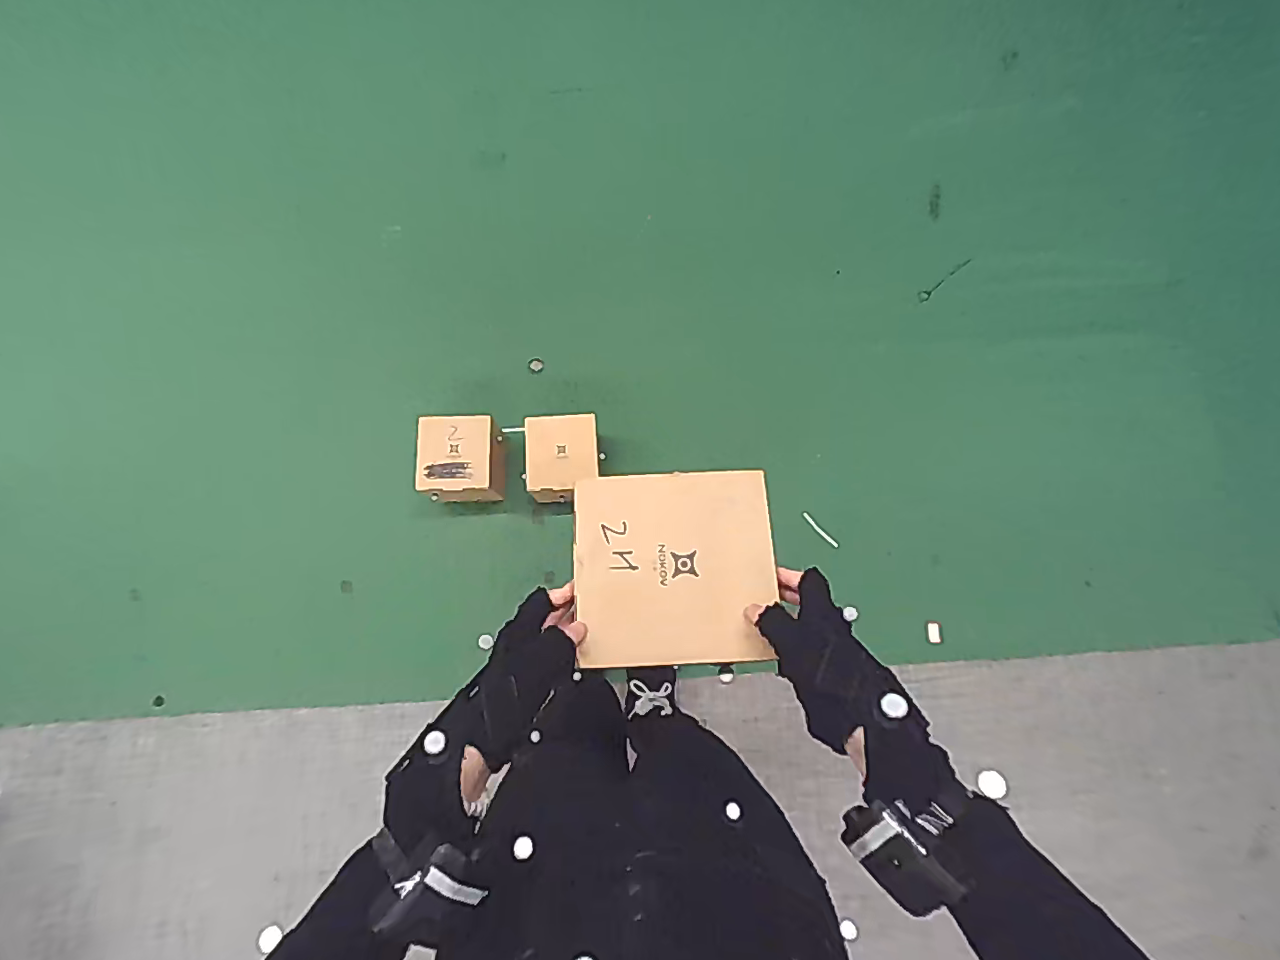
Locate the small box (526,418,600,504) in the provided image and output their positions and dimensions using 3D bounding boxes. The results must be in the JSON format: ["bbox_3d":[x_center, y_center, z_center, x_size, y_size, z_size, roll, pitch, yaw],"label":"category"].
[{"bbox_3d":[-0.184,-0.042,1.320,0.168,0.176,0.179,-3,80,-3],"label":"small box"}]

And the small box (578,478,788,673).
[{"bbox_3d":[0.033,0.103,0.542,0.179,0.176,0.168,-2,70,0],"label":"small box"}]
